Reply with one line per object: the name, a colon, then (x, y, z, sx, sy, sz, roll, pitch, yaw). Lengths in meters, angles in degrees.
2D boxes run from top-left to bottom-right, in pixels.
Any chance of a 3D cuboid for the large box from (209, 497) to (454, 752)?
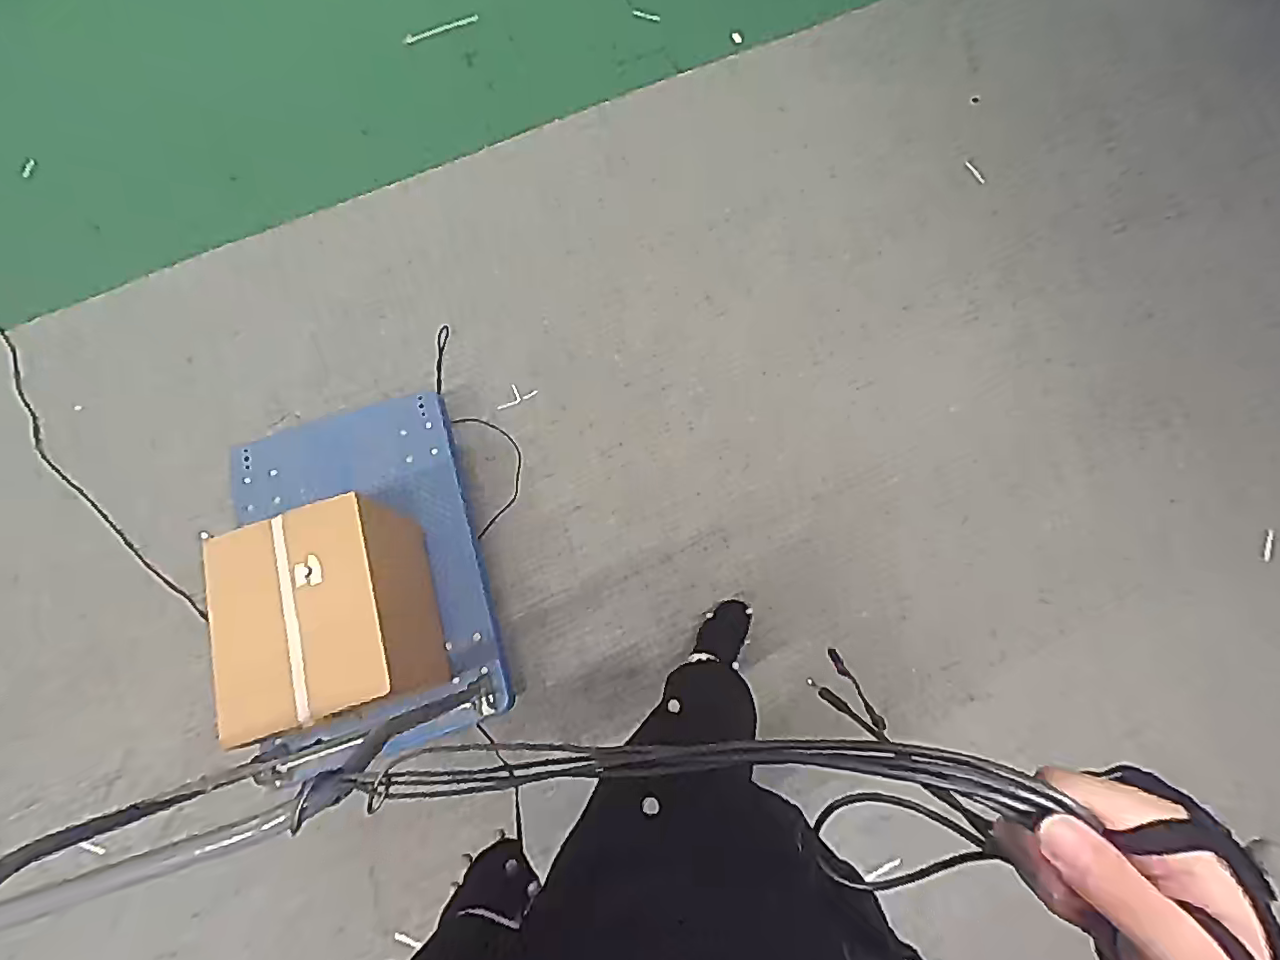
large box: (-0.644, 0.305, 1.165, 0.320, 0.320, 0.408, -18, 72, -4)
